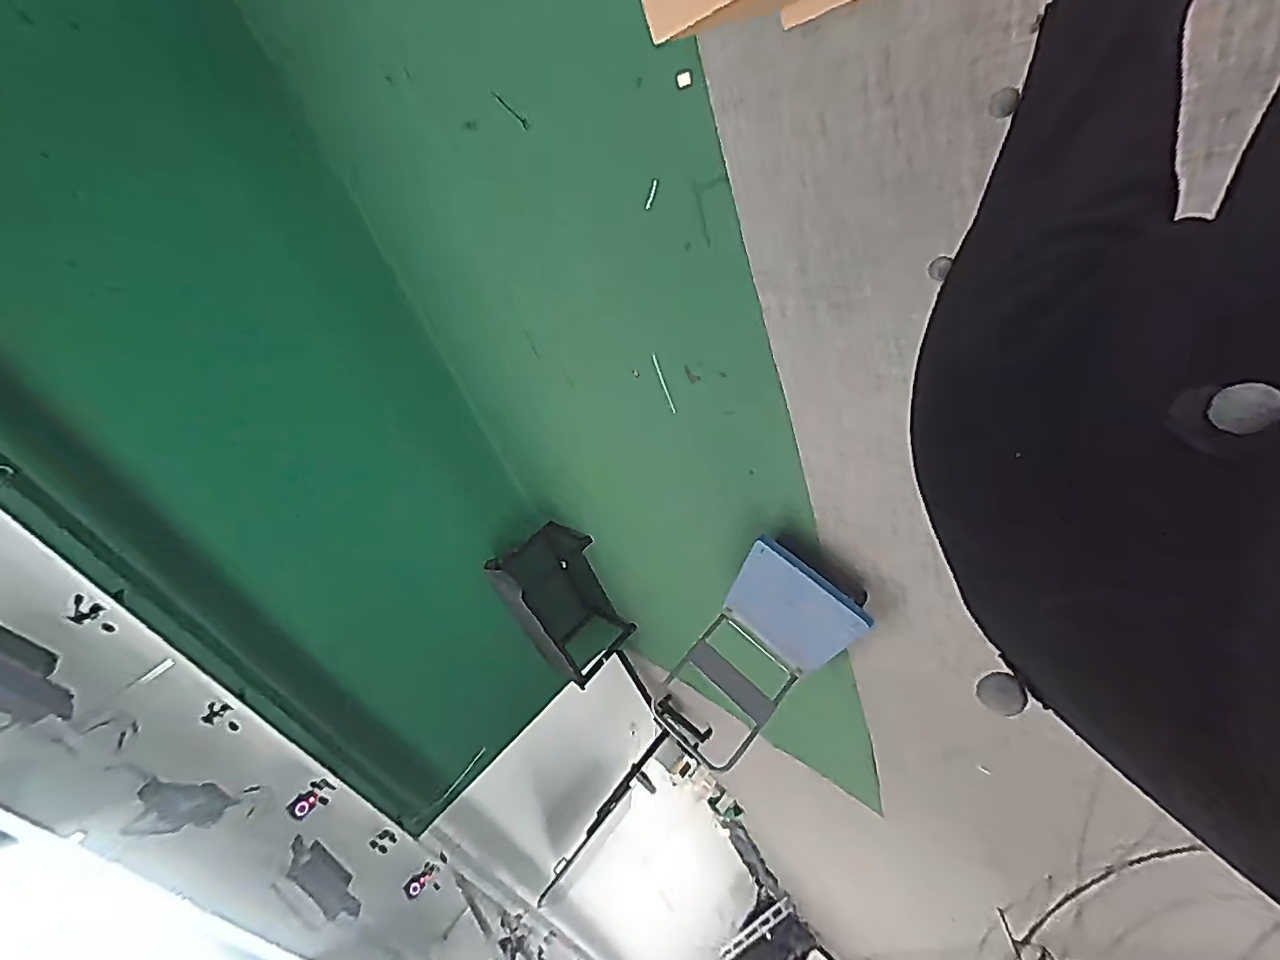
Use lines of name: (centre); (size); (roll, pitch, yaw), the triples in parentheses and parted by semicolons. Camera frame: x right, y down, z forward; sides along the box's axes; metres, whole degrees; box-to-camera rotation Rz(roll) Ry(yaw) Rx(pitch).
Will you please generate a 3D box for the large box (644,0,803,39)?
large box: (0.211, -0.867, 0.716); (0.408, 0.320, 0.320); (16, 135, 47)
